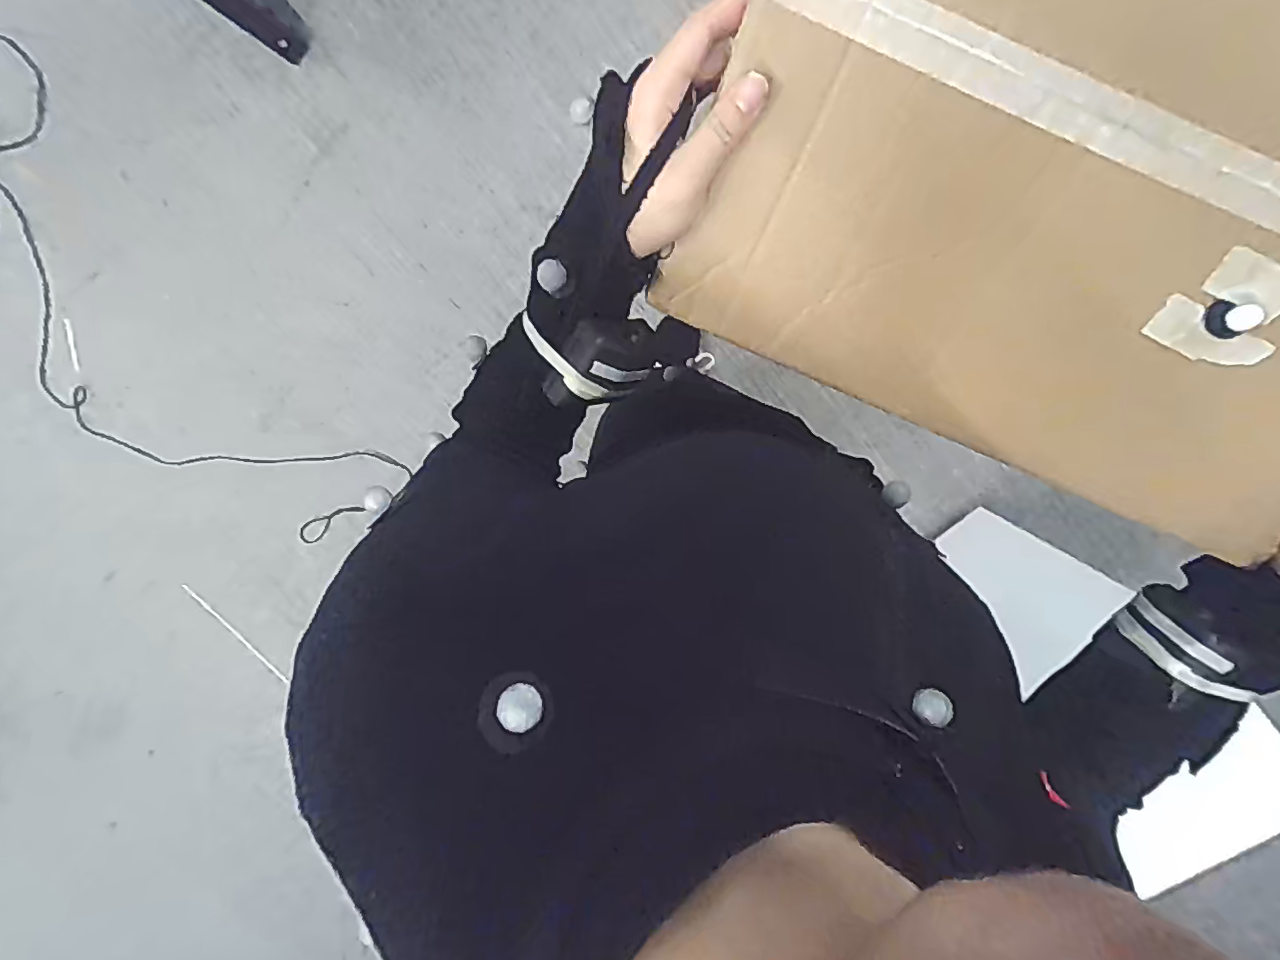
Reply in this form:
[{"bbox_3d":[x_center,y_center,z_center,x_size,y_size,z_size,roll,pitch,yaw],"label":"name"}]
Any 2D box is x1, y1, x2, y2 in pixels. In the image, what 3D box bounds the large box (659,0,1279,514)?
[{"bbox_3d":[0.265,-0.243,0.367,0.408,0.320,0.320,22,125,-2],"label":"large box"}]
